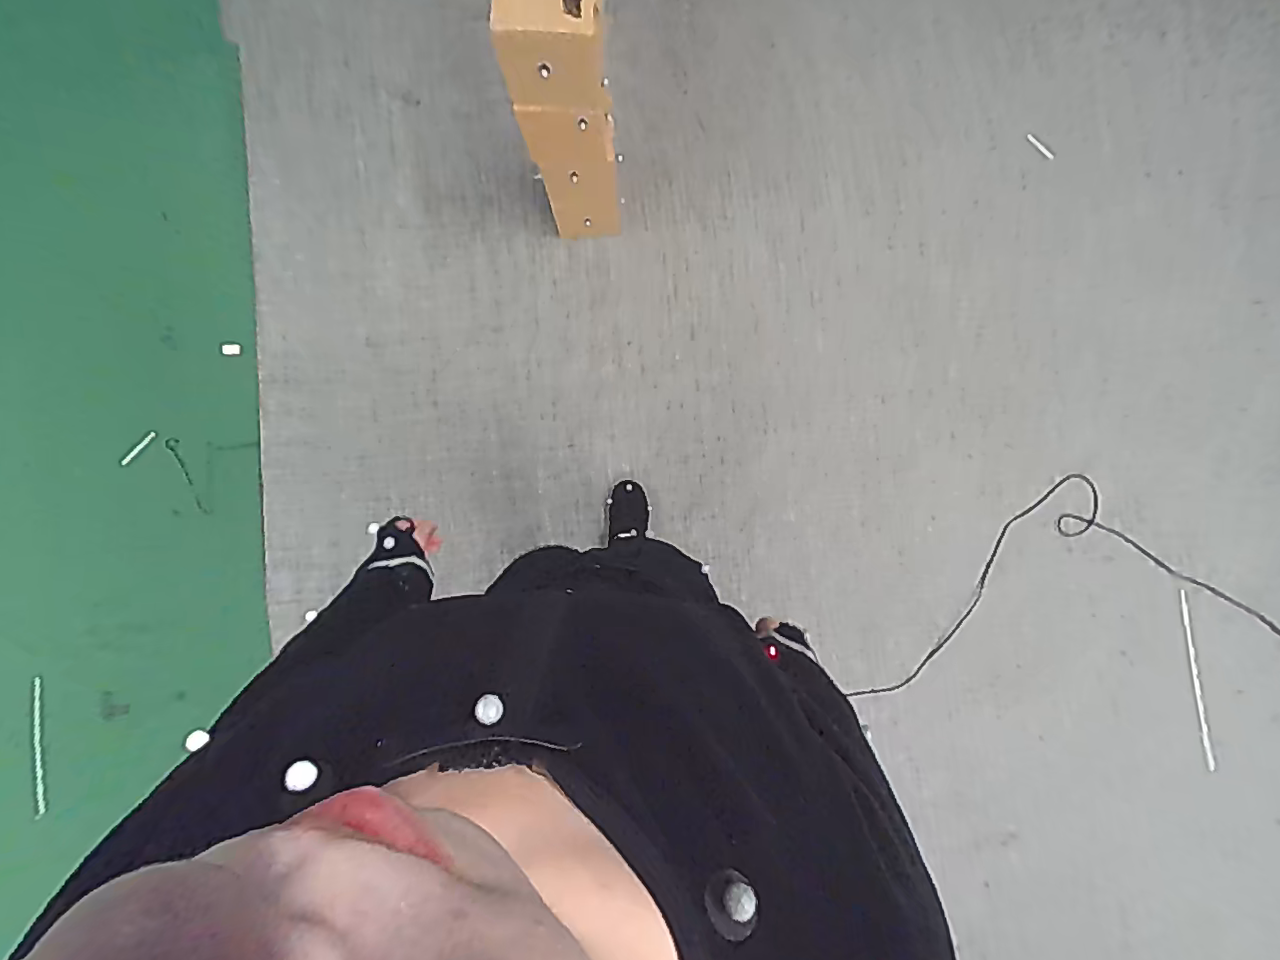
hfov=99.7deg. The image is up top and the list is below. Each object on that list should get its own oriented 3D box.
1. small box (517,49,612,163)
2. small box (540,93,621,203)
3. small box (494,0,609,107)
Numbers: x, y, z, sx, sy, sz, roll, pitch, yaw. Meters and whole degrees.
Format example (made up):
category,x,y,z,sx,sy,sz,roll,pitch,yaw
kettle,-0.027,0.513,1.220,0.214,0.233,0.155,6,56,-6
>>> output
category,x,y,z,sx,sy,sz,roll,pitch,yaw
small box,-0.153,-0.802,1.146,0.179,0.176,0.168,1,87,0
small box,-0.139,-0.795,1.308,0.179,0.176,0.168,-2,88,1
small box,-0.151,-0.815,0.982,0.179,0.176,0.168,3,87,2
